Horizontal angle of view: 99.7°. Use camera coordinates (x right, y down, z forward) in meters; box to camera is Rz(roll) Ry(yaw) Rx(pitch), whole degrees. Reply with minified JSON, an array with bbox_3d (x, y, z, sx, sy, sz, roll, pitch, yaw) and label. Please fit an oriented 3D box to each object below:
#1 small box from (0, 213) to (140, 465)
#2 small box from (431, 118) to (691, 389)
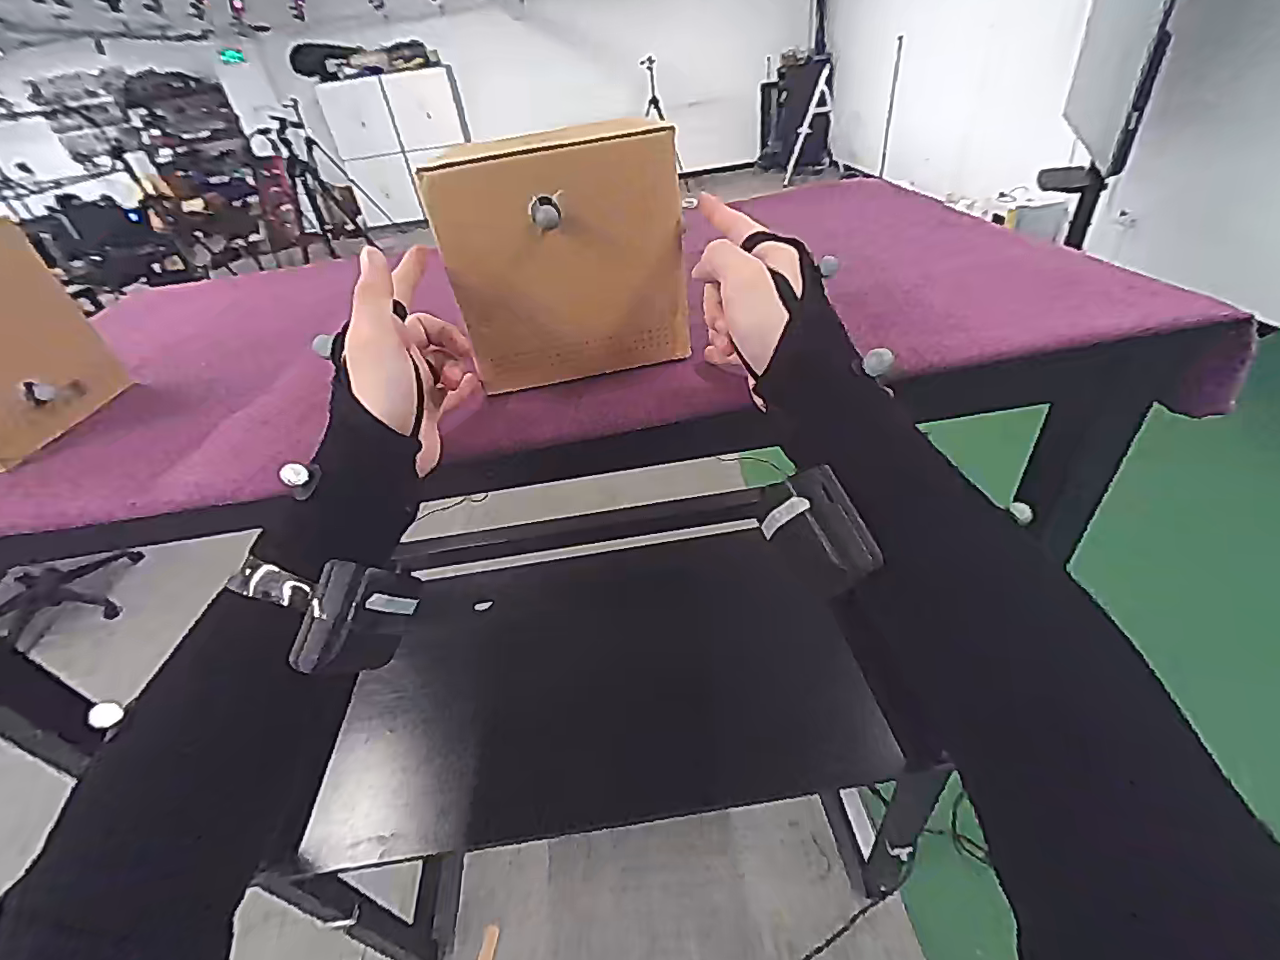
[{"bbox_3d":[-0.606,-0.110,0.457,0.179,0.176,0.168,-8,37,-1],"label":"small box"},{"bbox_3d":[-0.056,-0.200,0.472,0.179,0.176,0.168,-12,36,-3],"label":"small box"}]
